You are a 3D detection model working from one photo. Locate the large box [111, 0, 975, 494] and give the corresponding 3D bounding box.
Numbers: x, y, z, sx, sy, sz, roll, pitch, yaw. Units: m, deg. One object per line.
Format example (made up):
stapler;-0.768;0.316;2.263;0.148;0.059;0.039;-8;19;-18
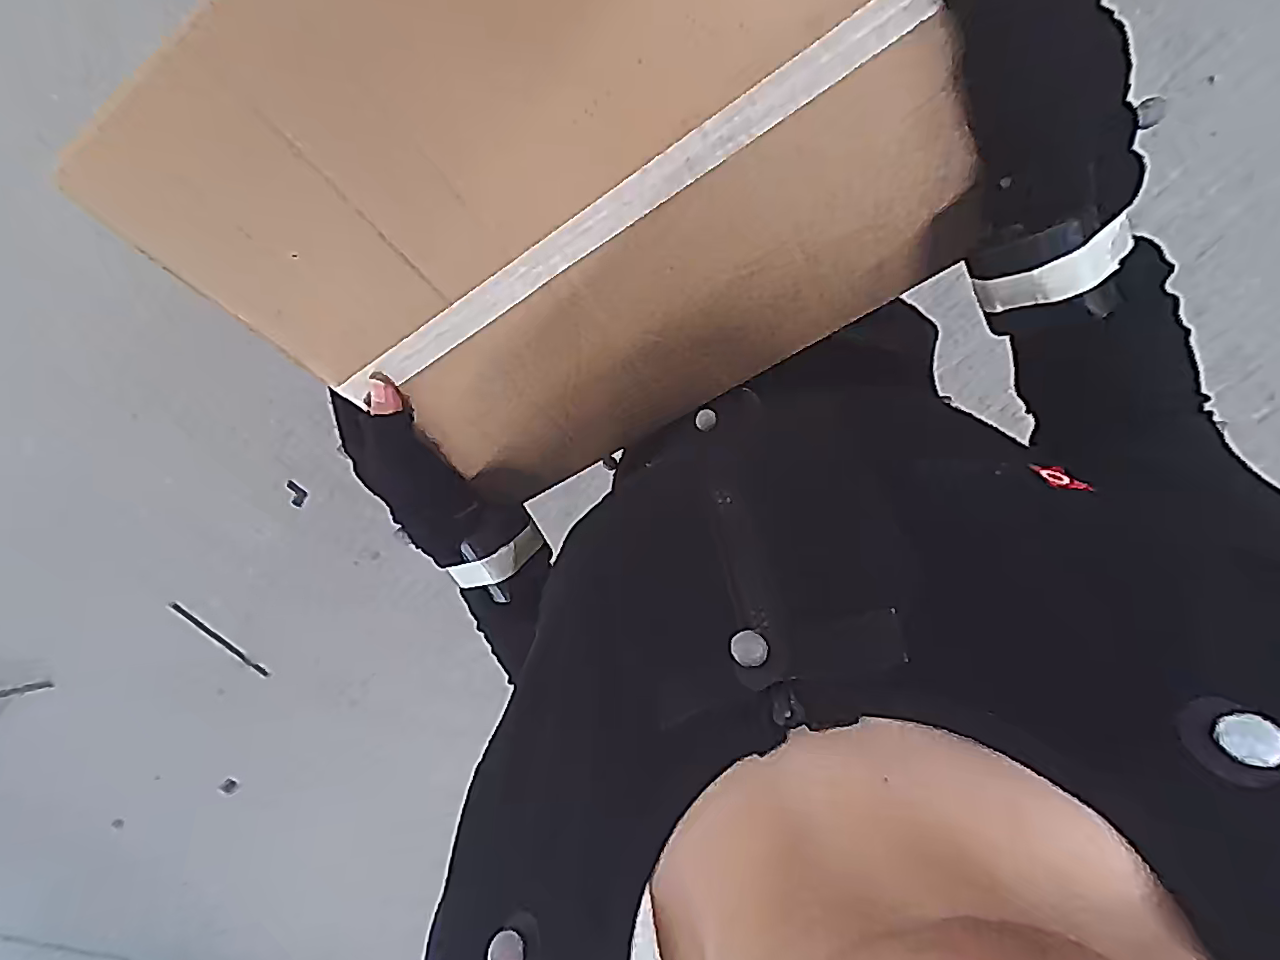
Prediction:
large box;-0.043;-0.262;0.408;0.408;0.320;0.320;-27;136;17
